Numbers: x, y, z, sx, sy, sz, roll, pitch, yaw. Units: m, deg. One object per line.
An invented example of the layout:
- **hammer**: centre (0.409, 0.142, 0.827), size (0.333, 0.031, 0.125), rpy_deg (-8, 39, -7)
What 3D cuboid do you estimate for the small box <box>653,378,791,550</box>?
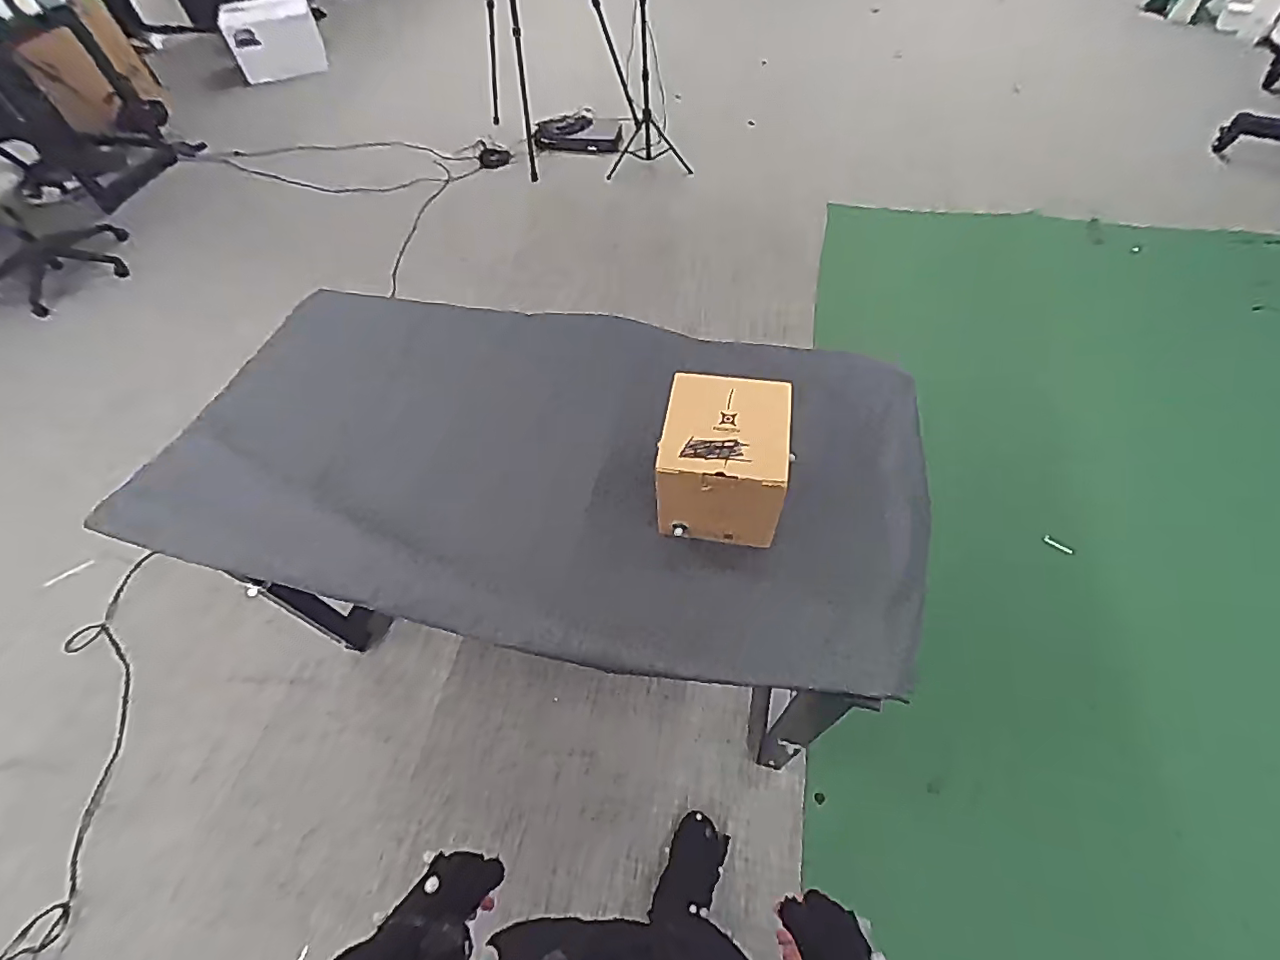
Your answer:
- **small box**: centre (0.117, -0.019, 0.772), size (0.168, 0.176, 0.179), rpy_deg (7, 54, 9)
